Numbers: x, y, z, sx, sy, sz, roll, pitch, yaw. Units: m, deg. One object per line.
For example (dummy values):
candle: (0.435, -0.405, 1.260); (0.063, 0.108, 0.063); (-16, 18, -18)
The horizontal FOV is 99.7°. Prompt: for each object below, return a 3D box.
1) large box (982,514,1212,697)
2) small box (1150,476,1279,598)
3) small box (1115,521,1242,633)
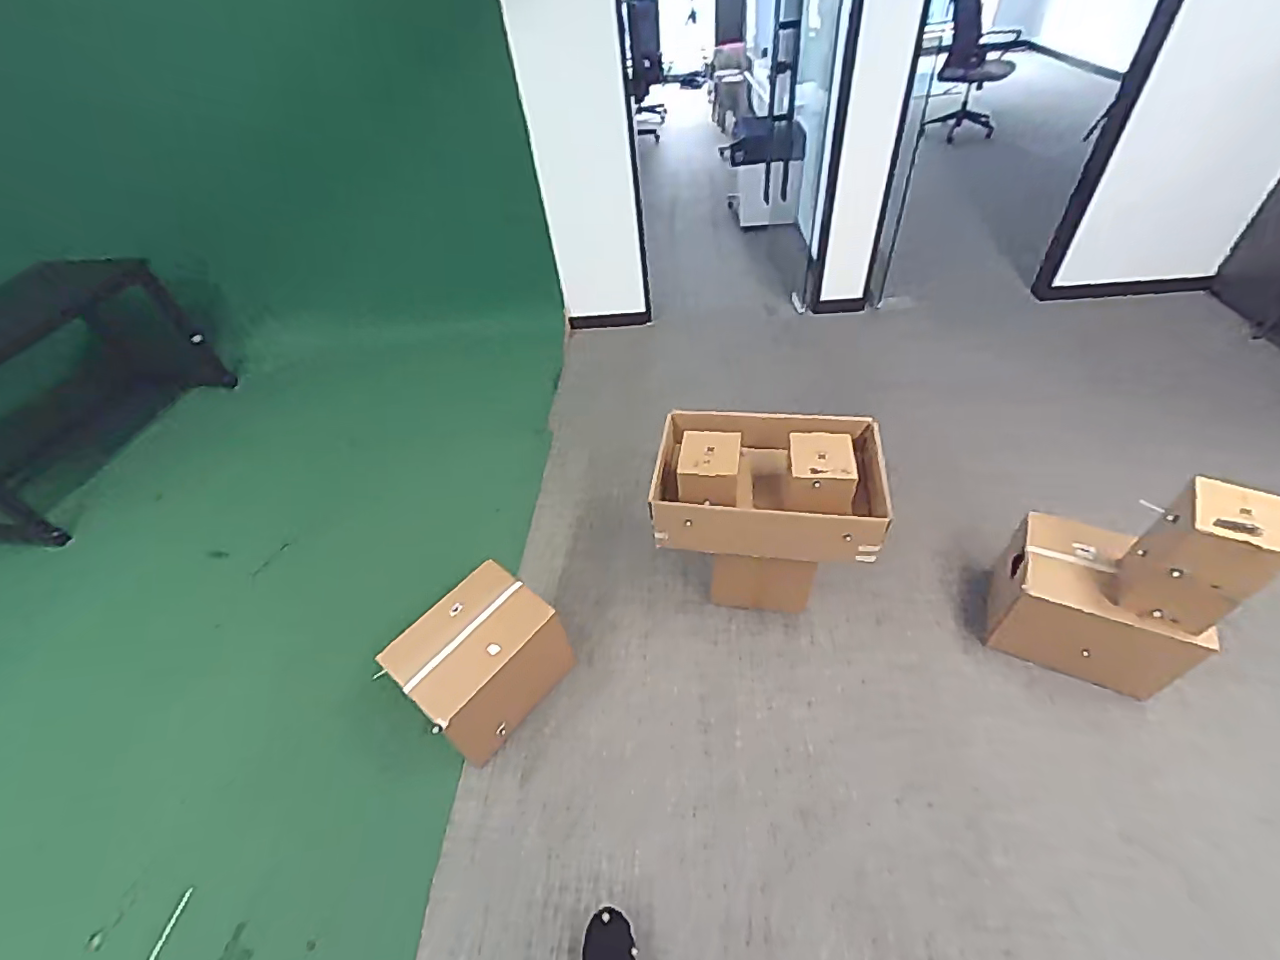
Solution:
large box: (1.266, 0.355, 1.550); (0.408, 0.320, 0.320); (16, 50, 22)
small box: (1.279, 0.128, 1.197); (0.168, 0.176, 0.179); (22, 53, 27)
small box: (1.303, 0.237, 1.318); (0.168, 0.176, 0.179); (22, 54, 26)
